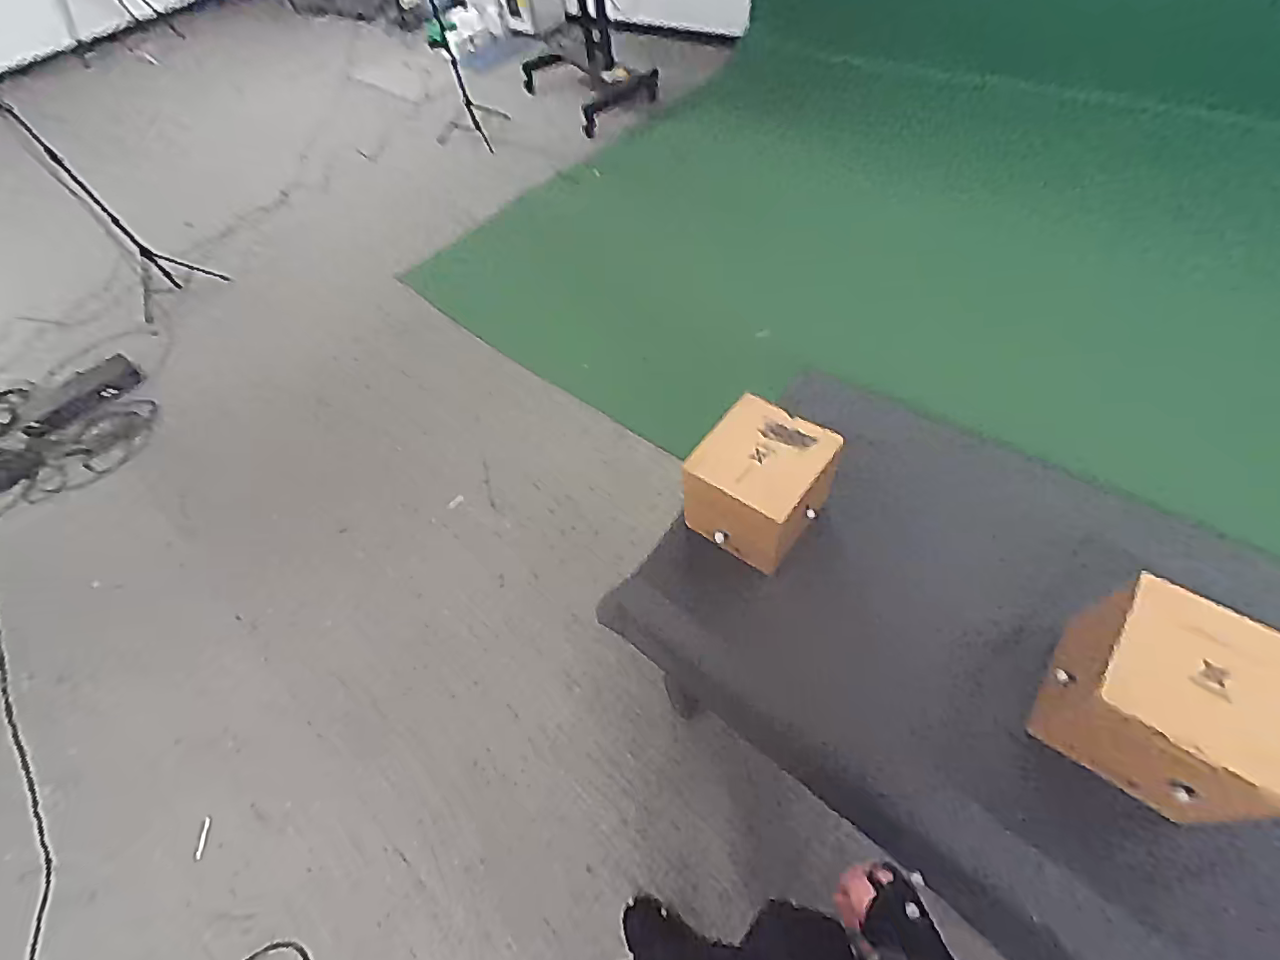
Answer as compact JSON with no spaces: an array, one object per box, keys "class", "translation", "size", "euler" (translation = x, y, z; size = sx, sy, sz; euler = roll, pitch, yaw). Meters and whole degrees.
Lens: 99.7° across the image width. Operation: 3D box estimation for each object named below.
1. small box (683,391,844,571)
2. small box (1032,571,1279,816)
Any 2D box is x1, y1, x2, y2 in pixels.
[{"class":"small box","translation":[0.181,0.003,0.826],"size":[0.168,0.176,0.179],"euler":[32,65,26]},{"class":"small box","translation":[0.583,0.243,0.605],"size":[0.168,0.176,0.179],"euler":[31,64,24]}]
